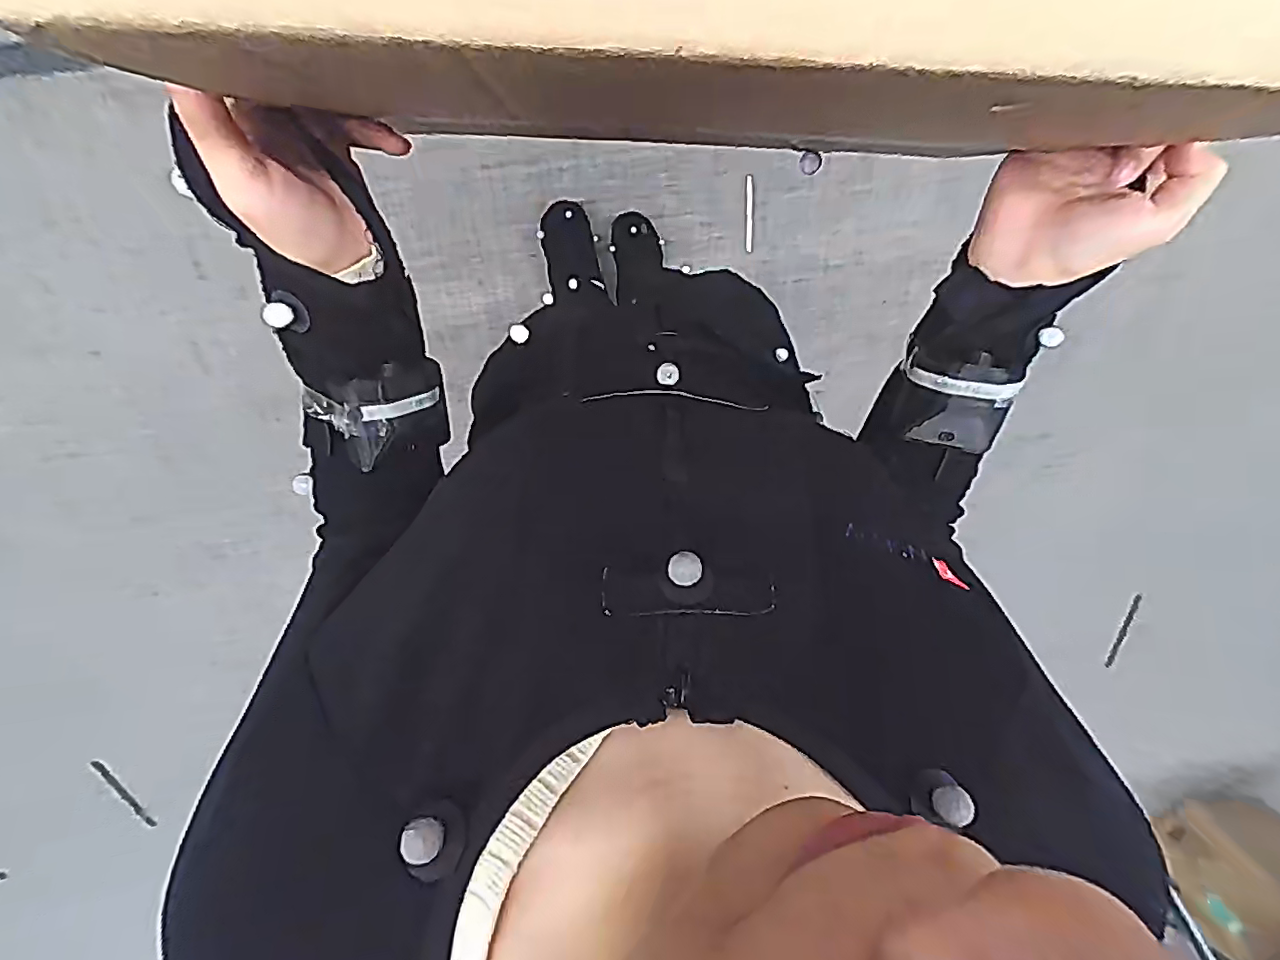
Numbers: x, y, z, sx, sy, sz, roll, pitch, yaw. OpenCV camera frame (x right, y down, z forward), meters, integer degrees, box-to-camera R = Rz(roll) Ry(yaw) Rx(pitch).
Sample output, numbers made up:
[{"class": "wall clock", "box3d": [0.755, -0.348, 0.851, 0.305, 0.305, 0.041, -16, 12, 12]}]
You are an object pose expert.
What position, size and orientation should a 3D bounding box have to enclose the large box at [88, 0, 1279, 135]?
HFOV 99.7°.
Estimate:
[{"class": "large box", "box3d": [0.046, -0.318, 0.186, 0.408, 0.320, 0.320, -1, 120, -5]}]
